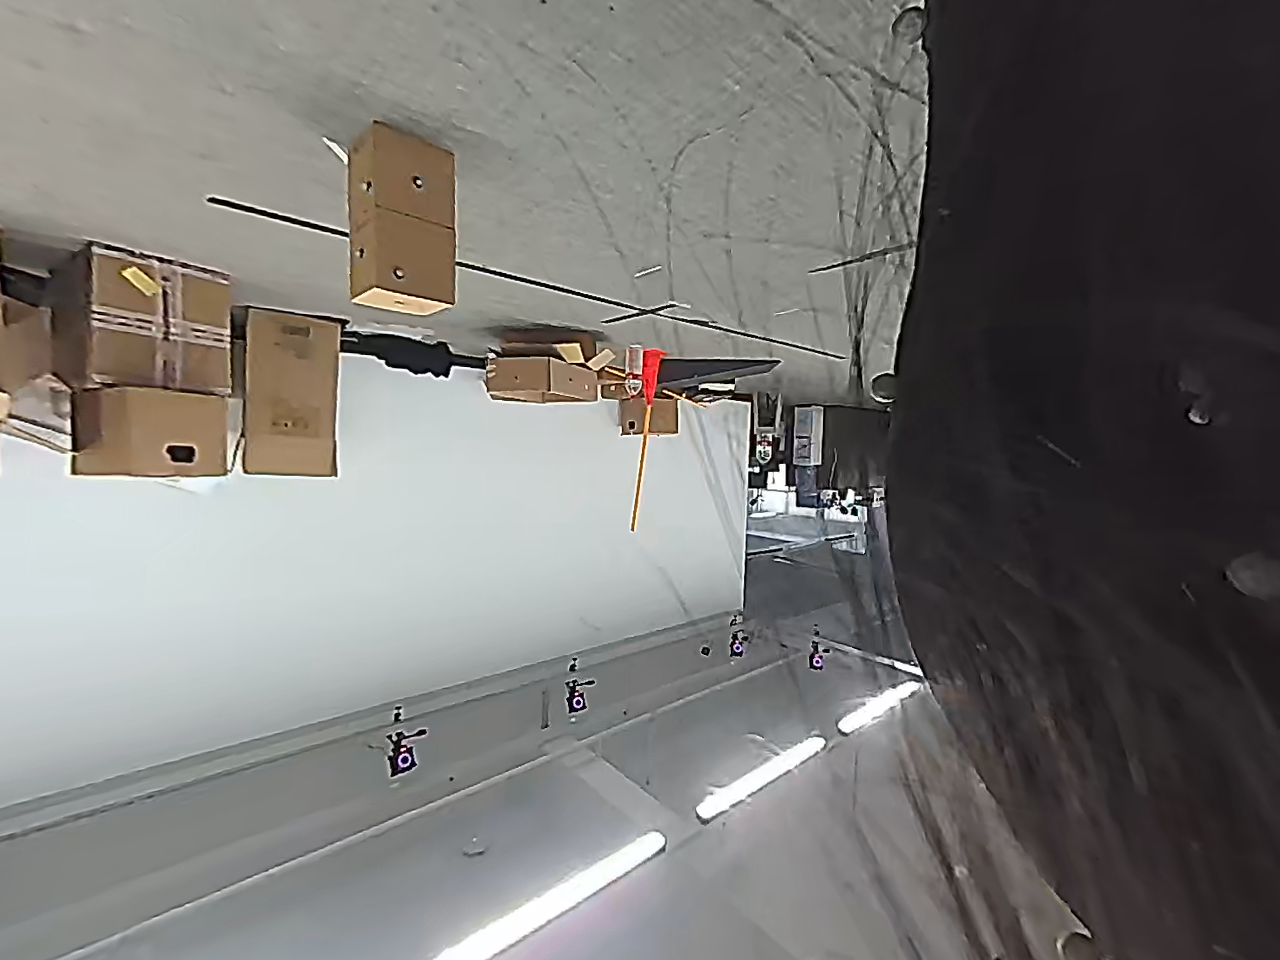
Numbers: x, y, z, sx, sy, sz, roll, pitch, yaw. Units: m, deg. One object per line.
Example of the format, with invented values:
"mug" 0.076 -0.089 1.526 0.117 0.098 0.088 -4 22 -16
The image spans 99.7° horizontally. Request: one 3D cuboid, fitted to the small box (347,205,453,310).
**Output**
"small box" -0.538 -0.492 1.208 0.179 0.176 0.168 -3 -173 -45
